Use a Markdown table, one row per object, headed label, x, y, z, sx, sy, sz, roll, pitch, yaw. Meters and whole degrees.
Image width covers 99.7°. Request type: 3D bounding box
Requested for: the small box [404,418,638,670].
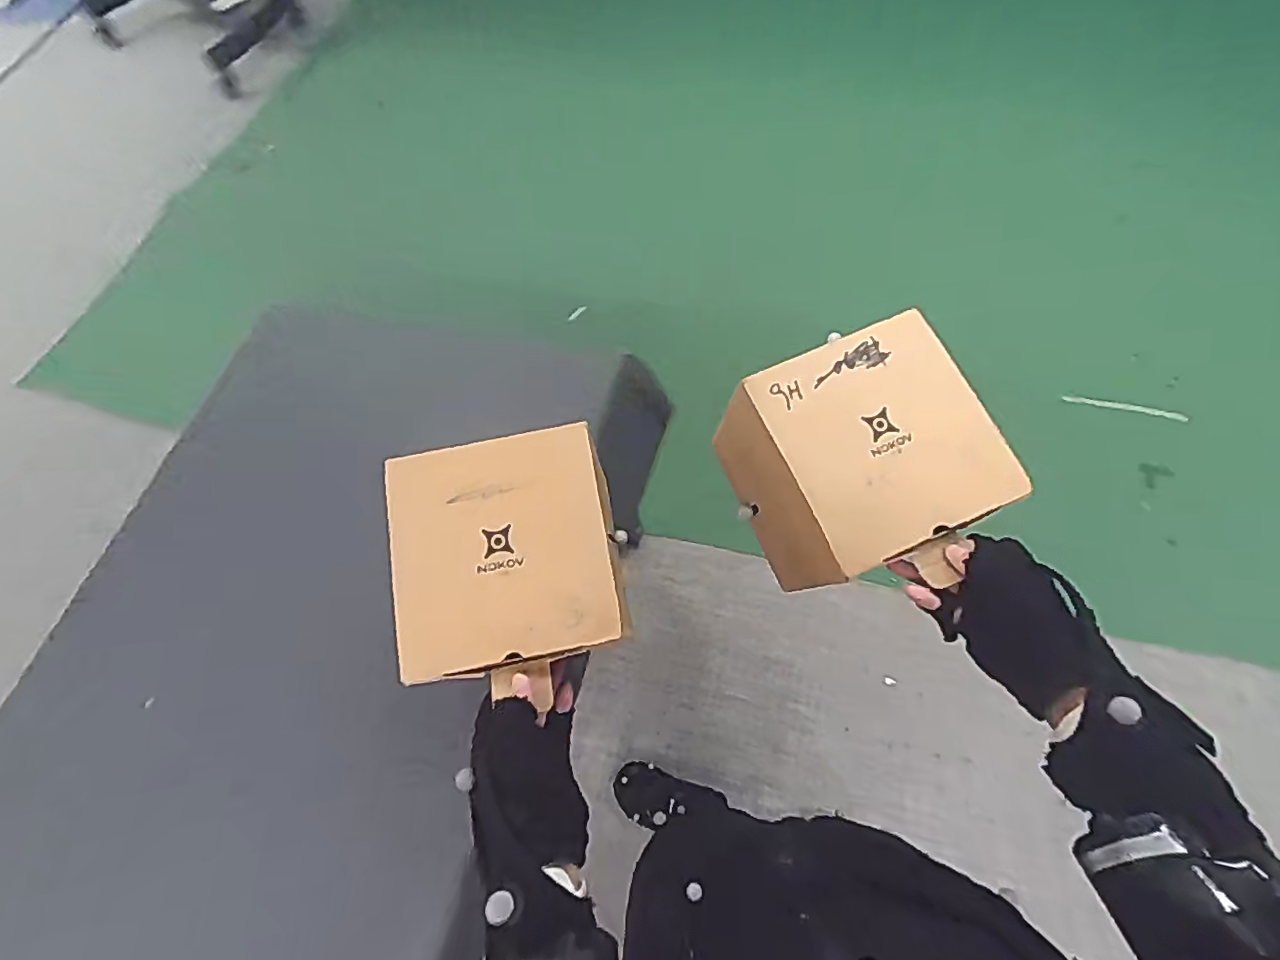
| label | x | y | z | sx | sy | sz | roll | pitch | yaw |
| --- | --- | --- | --- | --- | --- | --- | --- | --- | --- |
| small box | -0.096 | 0.065 | 0.496 | 0.168 | 0.176 | 0.179 | -10 | 74 | -2 |
